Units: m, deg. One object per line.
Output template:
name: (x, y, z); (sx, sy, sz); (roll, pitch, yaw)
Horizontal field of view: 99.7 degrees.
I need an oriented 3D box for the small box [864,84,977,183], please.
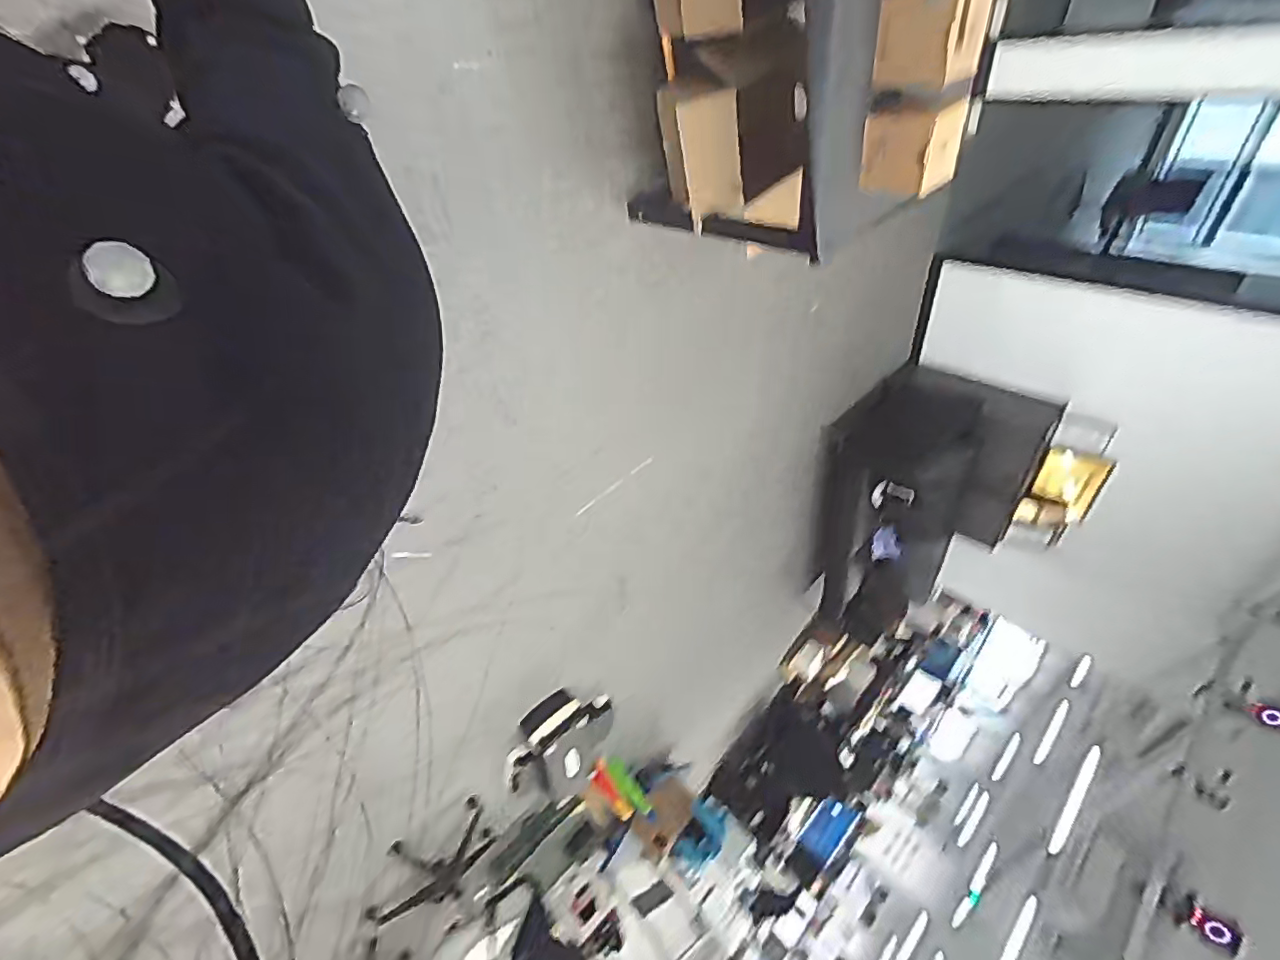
small box: (0.681, -0.854, 1.327); (0.179, 0.176, 0.168); (-38, 140, -25)
